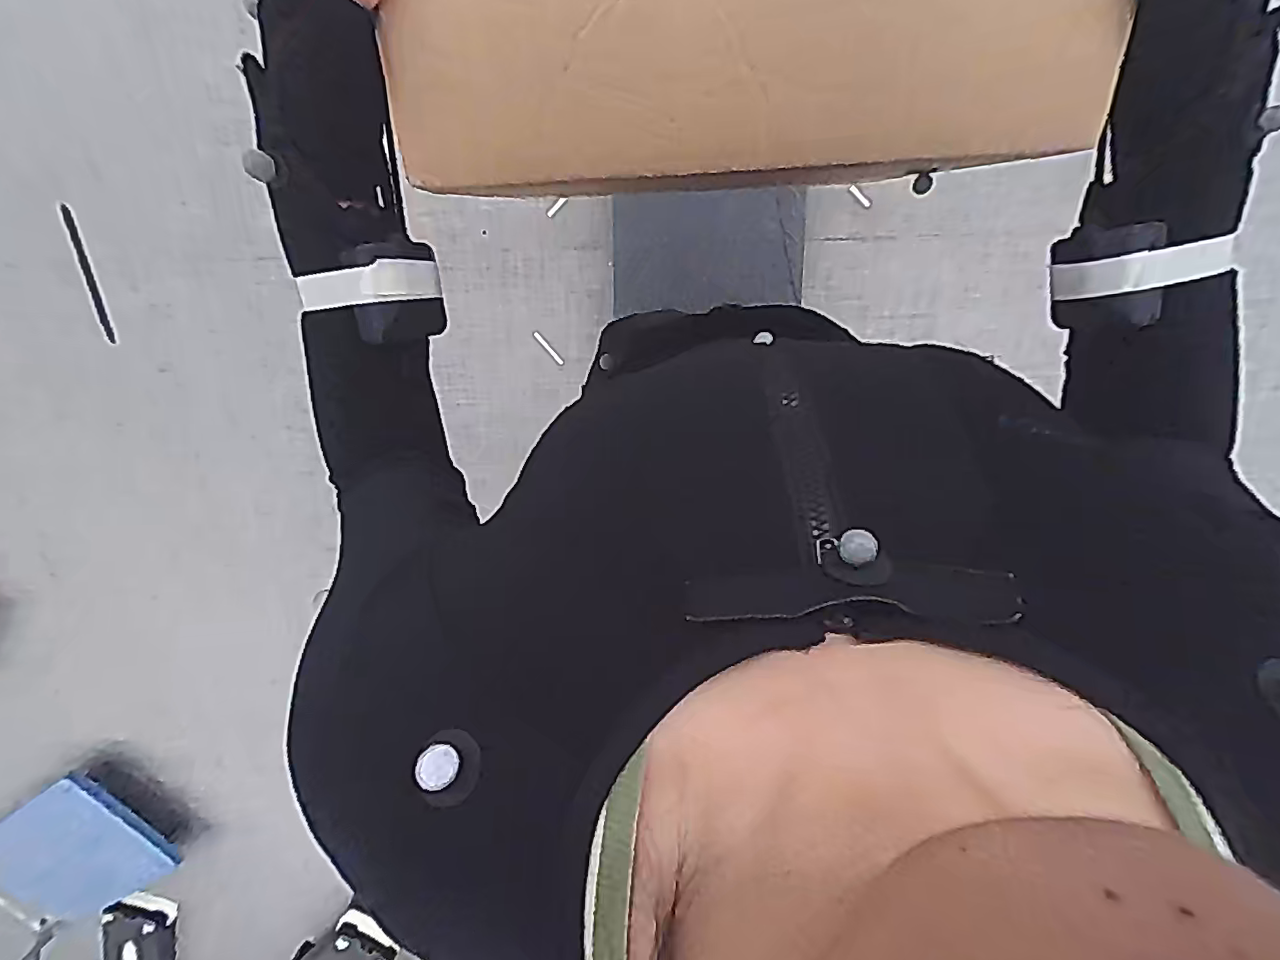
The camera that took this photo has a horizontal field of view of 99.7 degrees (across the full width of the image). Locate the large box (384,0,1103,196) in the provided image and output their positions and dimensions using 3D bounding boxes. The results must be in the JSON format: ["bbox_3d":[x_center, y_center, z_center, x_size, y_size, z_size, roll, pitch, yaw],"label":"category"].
[{"bbox_3d":[0.055,-0.396,0.398,0.408,0.320,0.320,-2,116,2],"label":"large box"}]
